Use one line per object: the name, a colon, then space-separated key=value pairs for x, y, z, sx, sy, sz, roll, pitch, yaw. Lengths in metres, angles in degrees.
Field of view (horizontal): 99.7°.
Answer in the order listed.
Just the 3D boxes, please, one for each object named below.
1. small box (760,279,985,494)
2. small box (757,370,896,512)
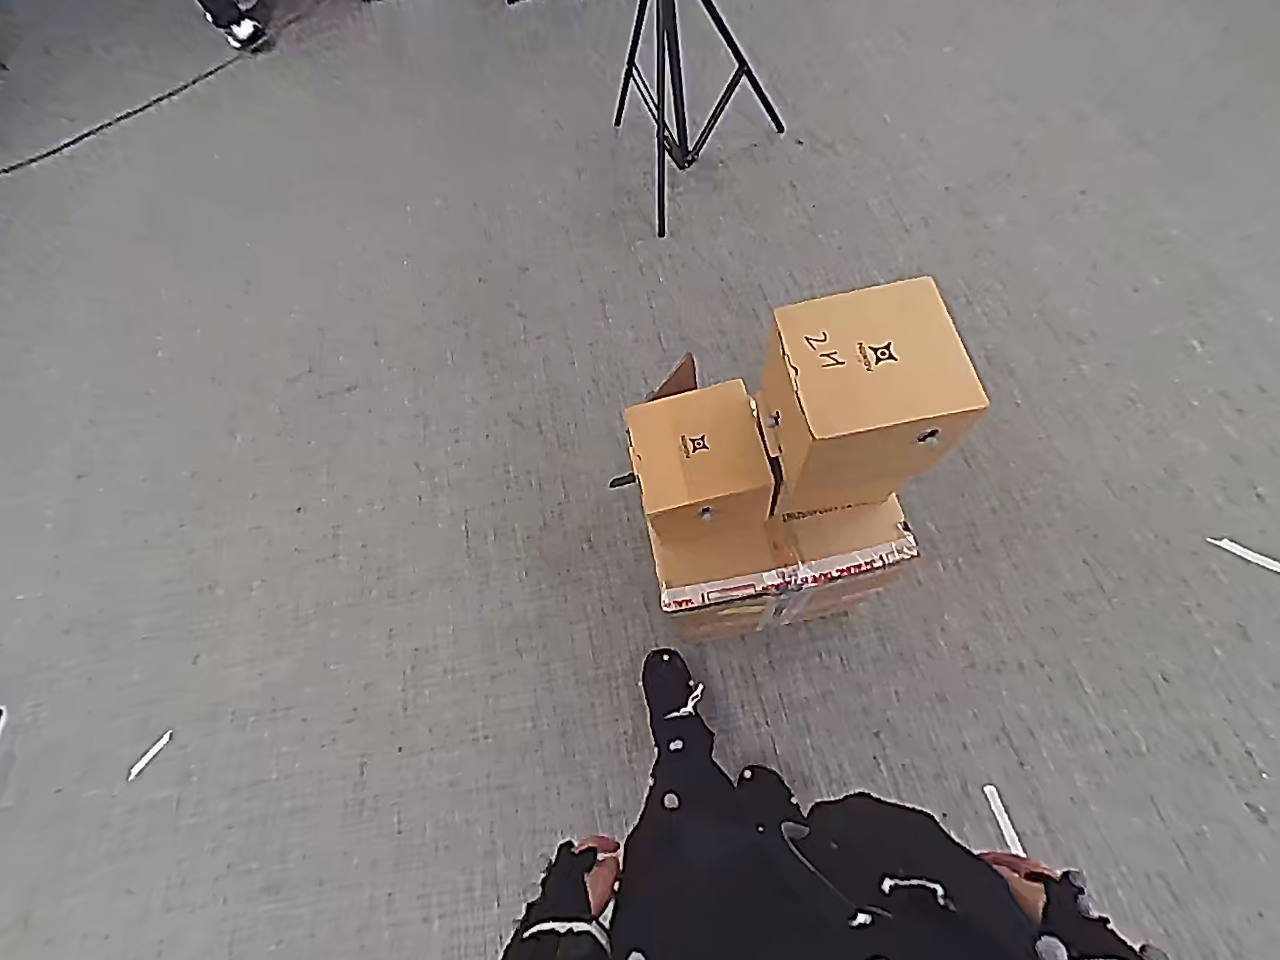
small box: x=0.247 y=-0.097 z=0.627 sx=0.179 sy=0.176 sz=0.168 roll=-11 pitch=67 yaw=4
small box: x=0.270 y=-0.060 z=0.787 sx=0.179 sy=0.176 sz=0.168 roll=-8 pitch=68 yaw=5
